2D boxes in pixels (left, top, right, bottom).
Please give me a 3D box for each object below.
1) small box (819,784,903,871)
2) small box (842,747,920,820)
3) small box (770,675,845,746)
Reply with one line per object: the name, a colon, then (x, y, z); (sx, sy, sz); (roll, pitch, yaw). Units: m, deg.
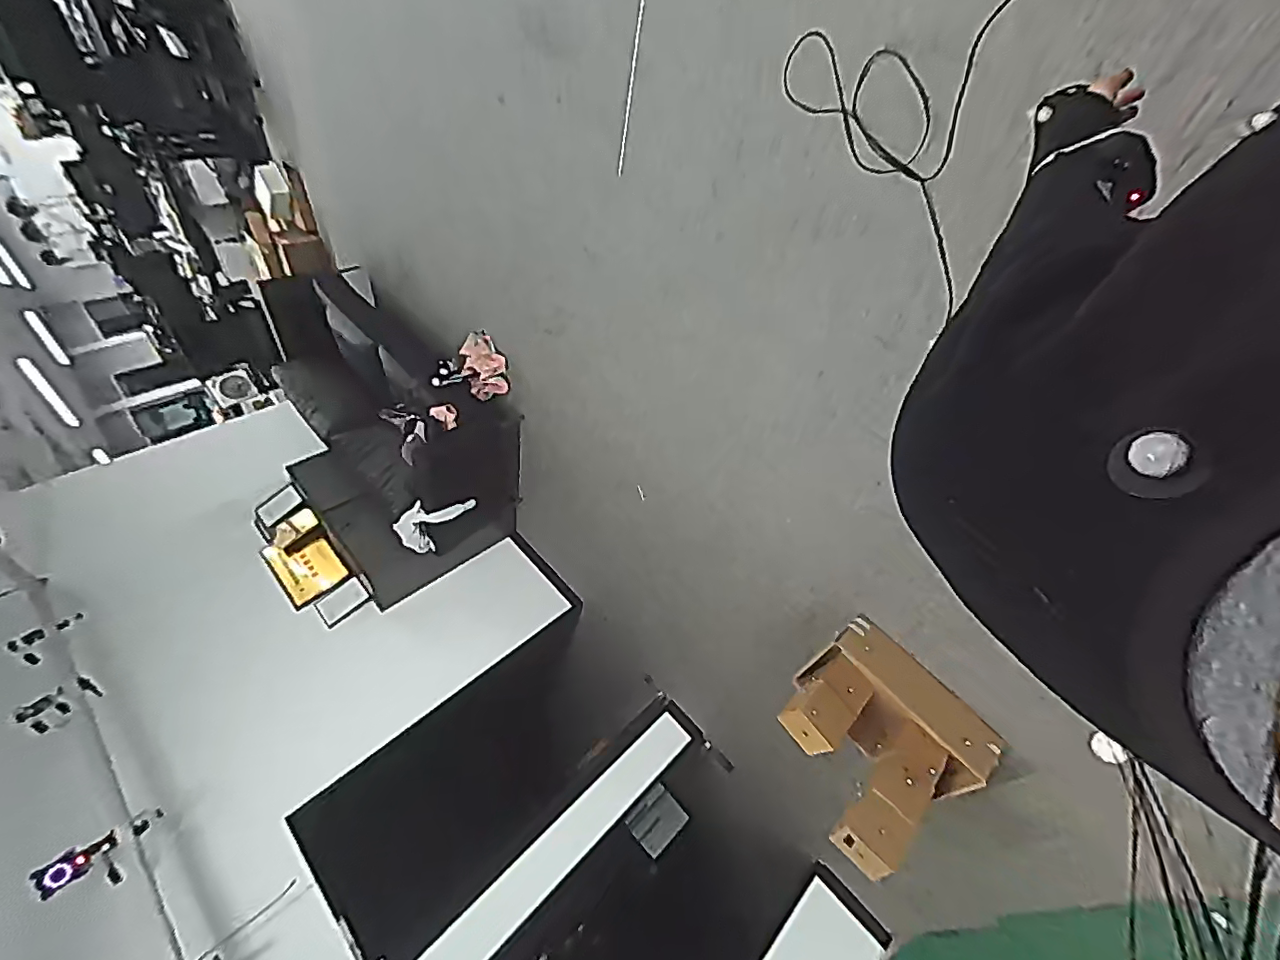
small box: (0.753, 1.174, 1.841); (0.179, 0.176, 0.168); (38, 142, 25)
small box: (0.865, 1.096, 1.933); (0.168, 0.176, 0.179); (41, 141, 22)
small box: (0.639, 0.873, 2.050); (0.179, 0.176, 0.168); (50, 144, 12)
